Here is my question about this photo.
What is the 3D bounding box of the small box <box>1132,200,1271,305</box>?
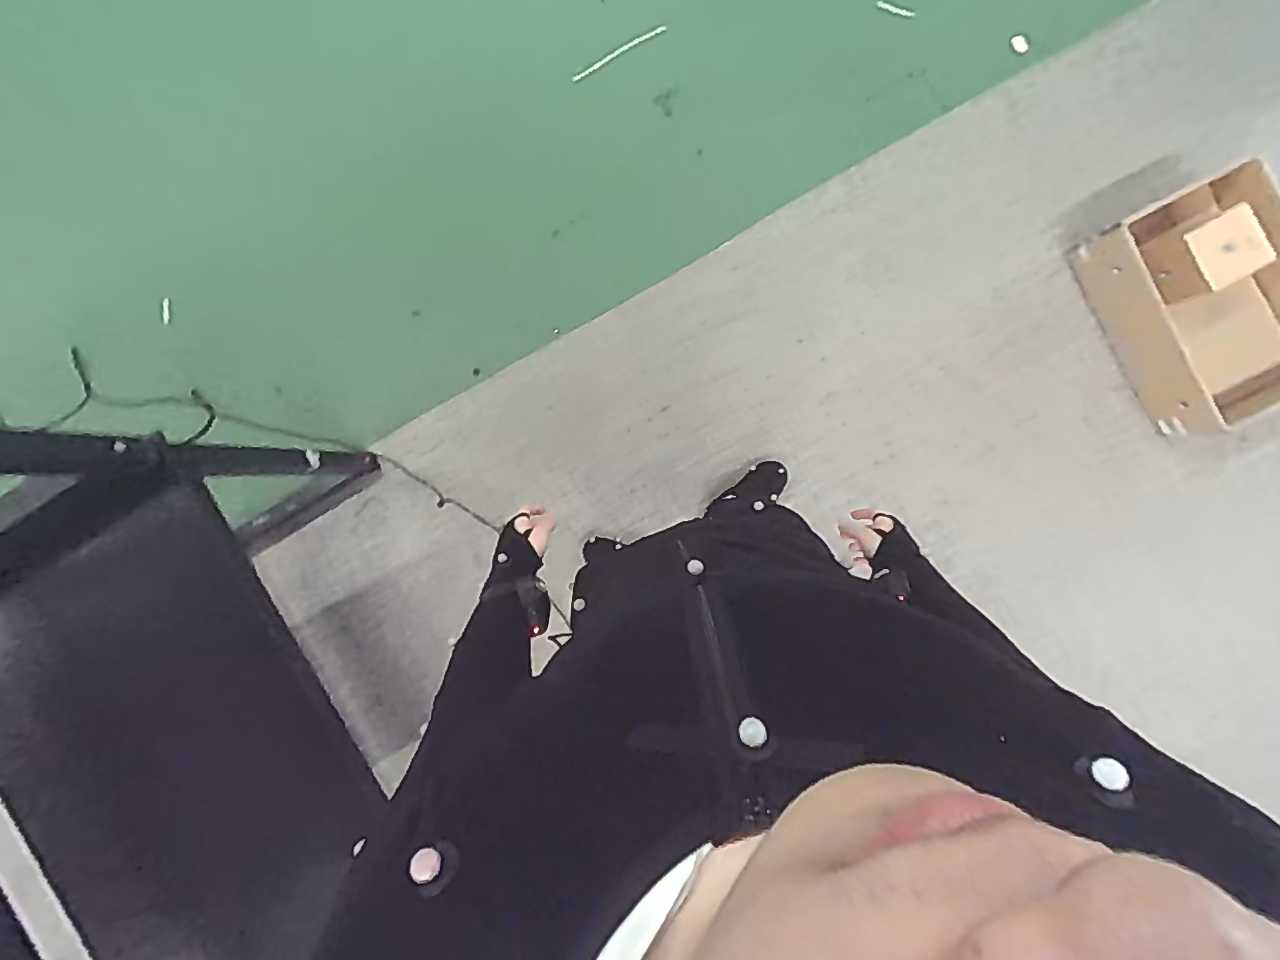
[{"bbox_3d":[1.471,-0.592,1.436,0.179,0.176,0.168,-29,91,2],"label":"small box"}]
